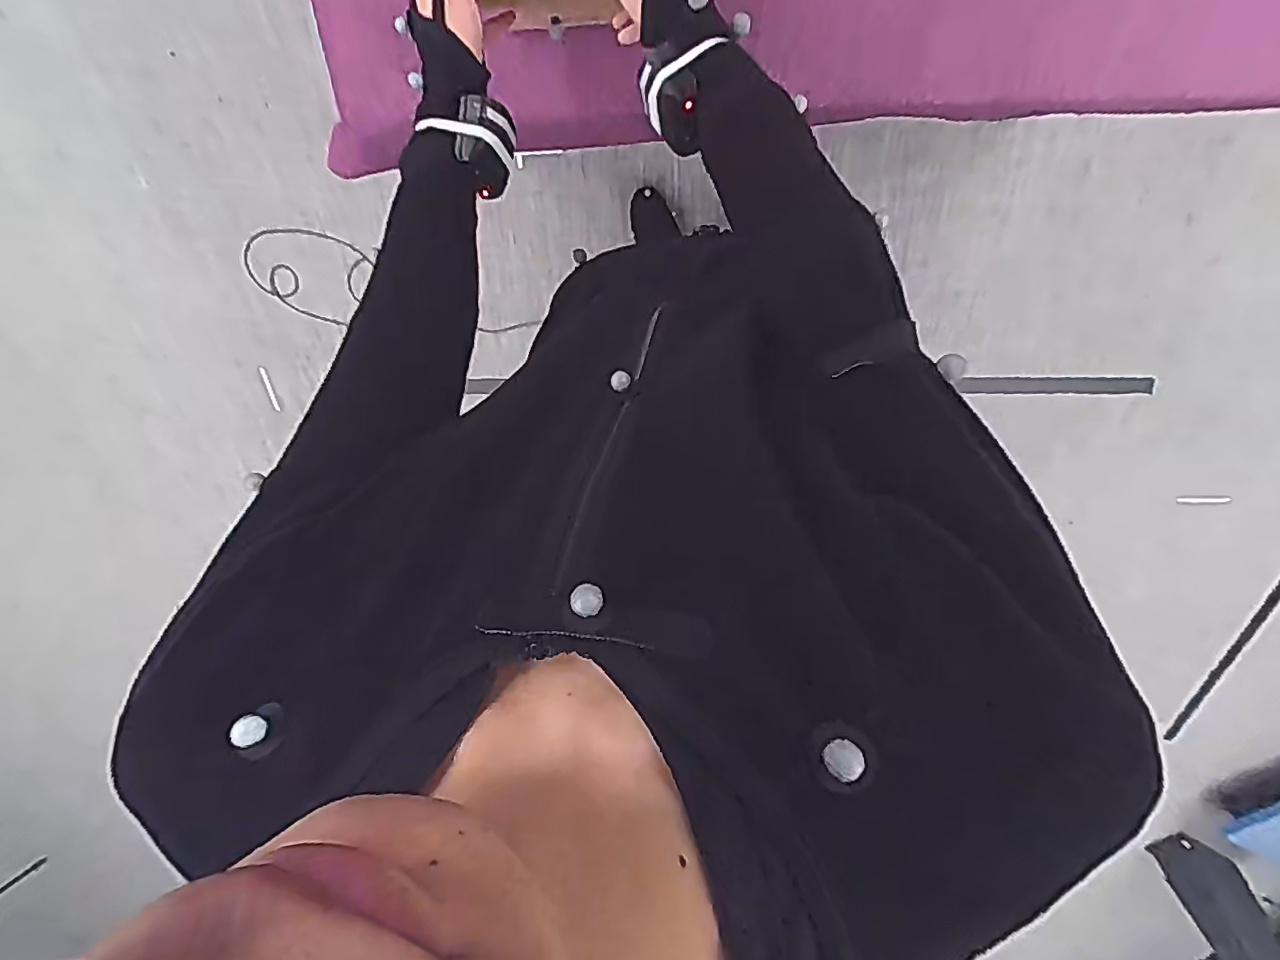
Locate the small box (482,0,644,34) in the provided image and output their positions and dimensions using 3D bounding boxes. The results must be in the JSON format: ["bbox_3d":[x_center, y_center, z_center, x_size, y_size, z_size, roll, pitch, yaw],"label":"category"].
[{"bbox_3d":[-0.082,-0.538,0.490,0.168,0.176,0.179,-3,121,2],"label":"small box"}]
